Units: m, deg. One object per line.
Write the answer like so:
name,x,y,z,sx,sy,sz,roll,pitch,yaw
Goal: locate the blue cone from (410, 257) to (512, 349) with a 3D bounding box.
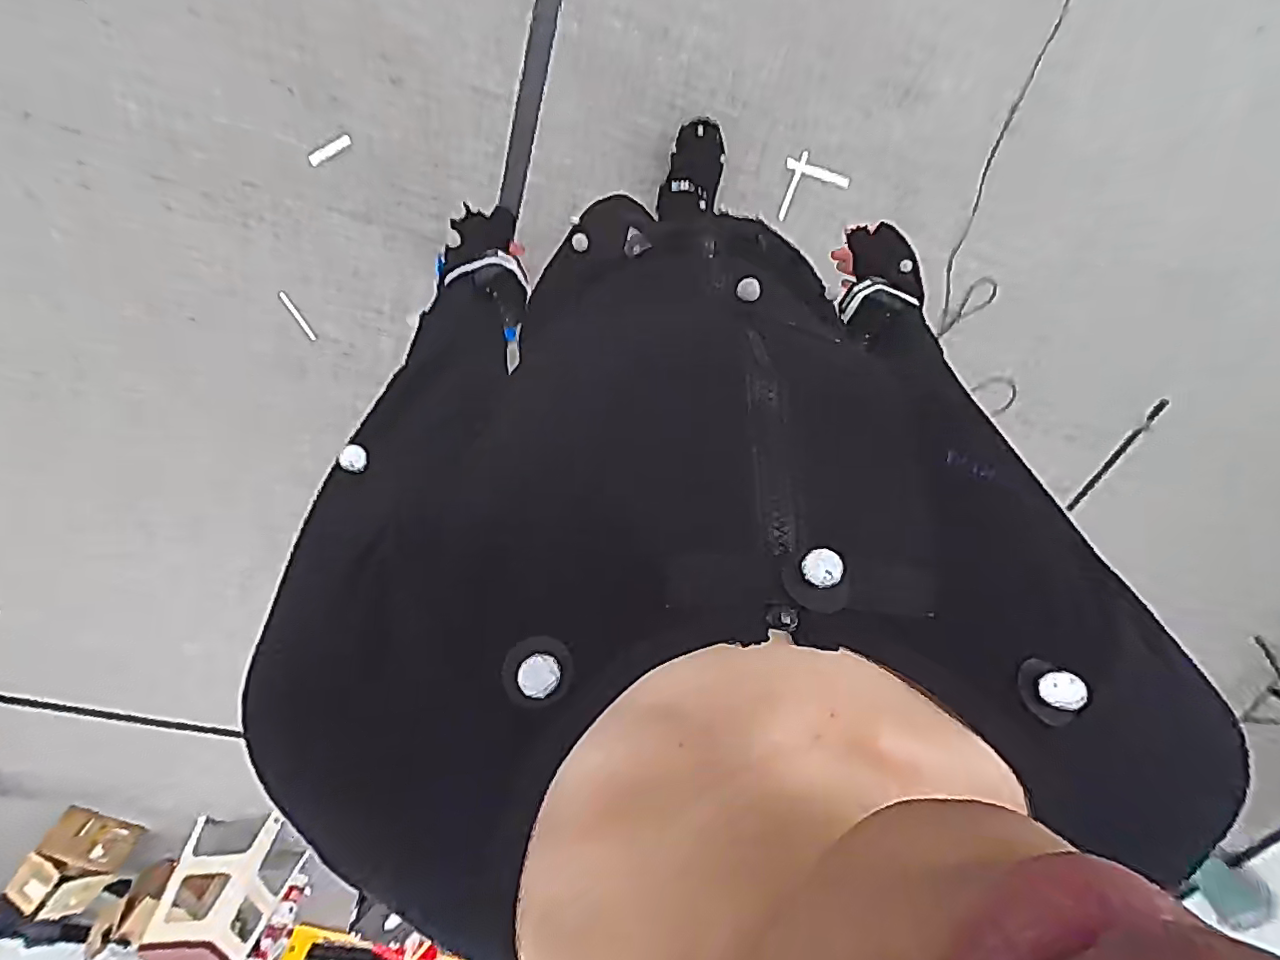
blue cone,-0.412,-0.355,1.186,0.192,0.380,0.193,12,118,-8
